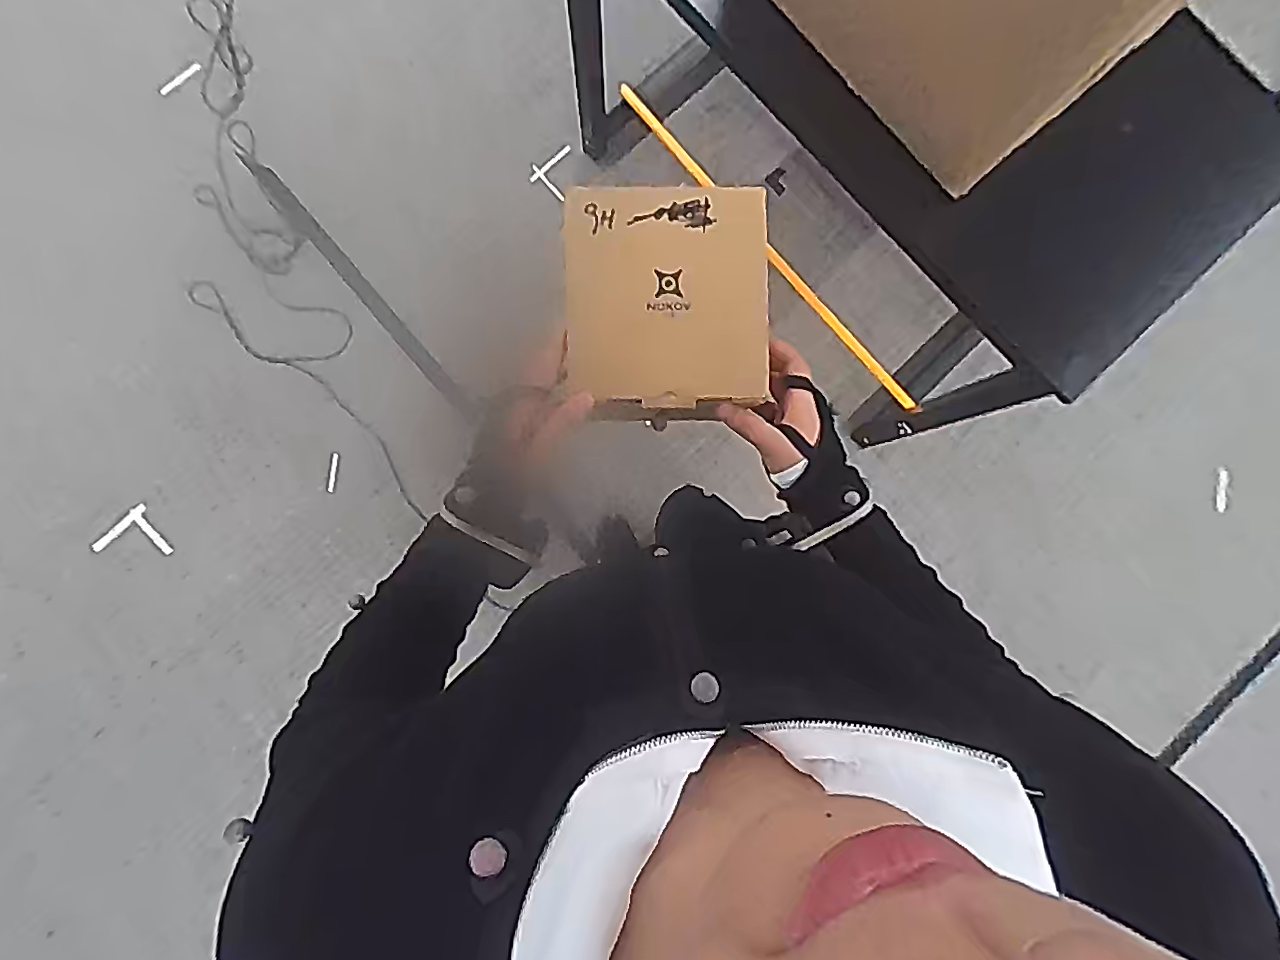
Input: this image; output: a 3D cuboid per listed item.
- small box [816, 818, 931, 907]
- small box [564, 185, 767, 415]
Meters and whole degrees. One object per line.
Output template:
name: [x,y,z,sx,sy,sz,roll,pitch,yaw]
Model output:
small box: [0.590,1.021,1.386,0.179,0.176,0.168,43,86,2]
small box: [0.020,-0.153,0.516,0.168,0.176,0.179,-1,92,-2]
